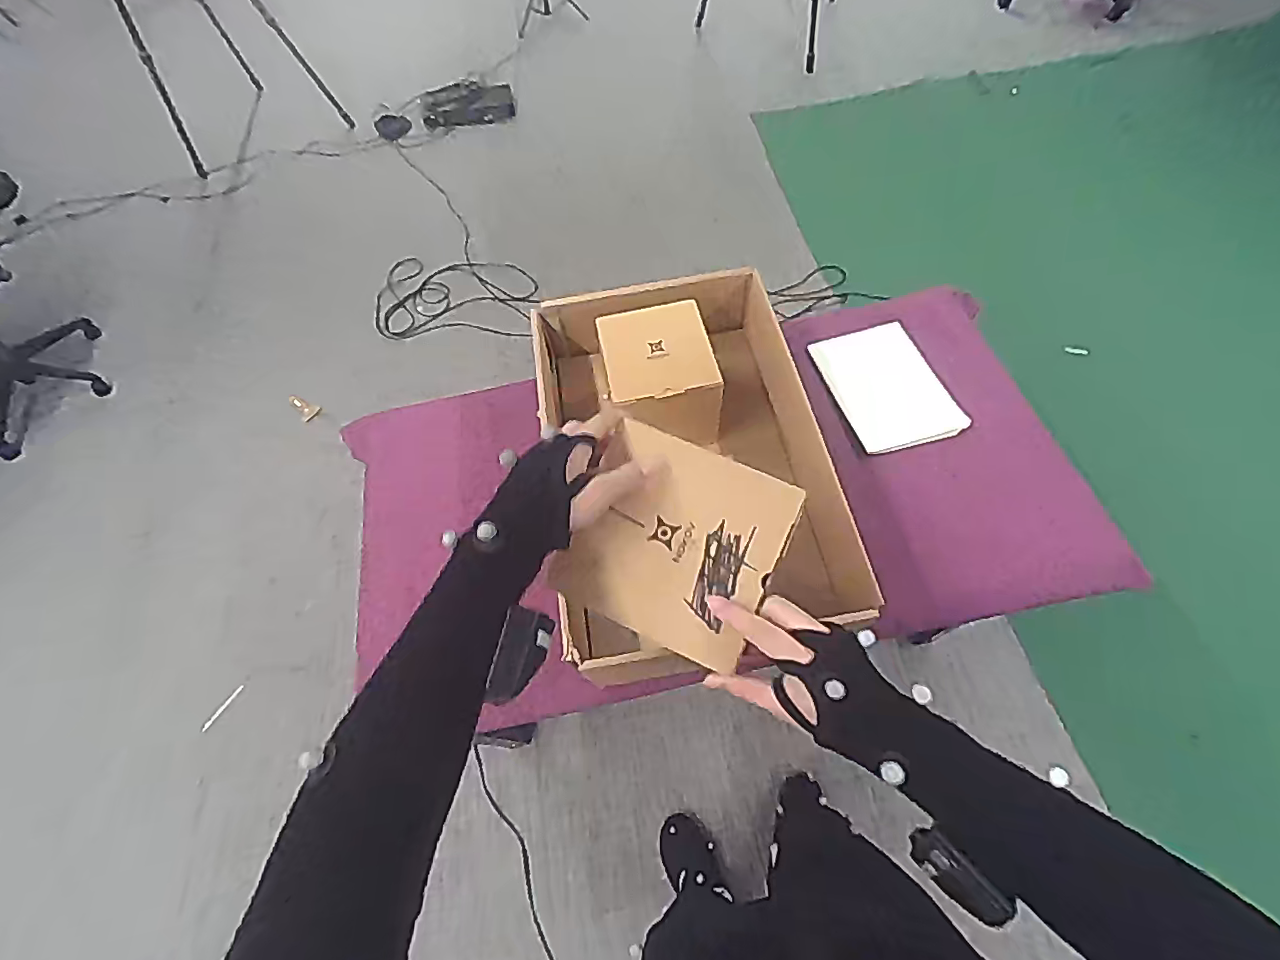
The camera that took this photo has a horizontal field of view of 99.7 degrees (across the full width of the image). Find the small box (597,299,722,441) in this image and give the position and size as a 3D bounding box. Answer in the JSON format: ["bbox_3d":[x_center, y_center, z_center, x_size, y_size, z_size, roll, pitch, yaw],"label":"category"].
[{"bbox_3d":[0.029,-0.166,0.899,0.168,0.176,0.179,-12,63,-3],"label":"small box"}]

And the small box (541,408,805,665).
[{"bbox_3d":[0.036,0.057,0.533,0.179,0.176,0.168,25,81,12],"label":"small box"}]
